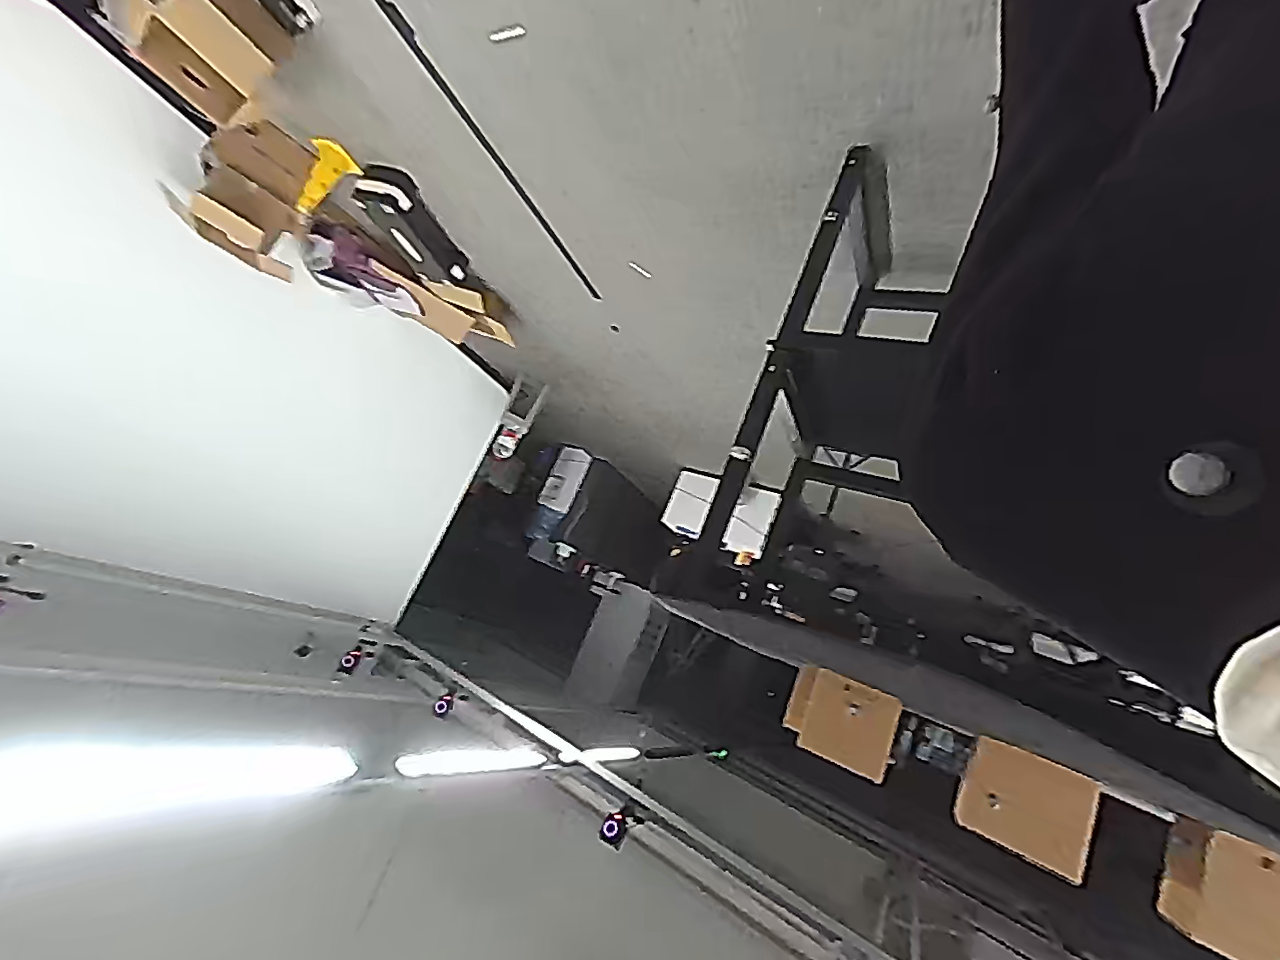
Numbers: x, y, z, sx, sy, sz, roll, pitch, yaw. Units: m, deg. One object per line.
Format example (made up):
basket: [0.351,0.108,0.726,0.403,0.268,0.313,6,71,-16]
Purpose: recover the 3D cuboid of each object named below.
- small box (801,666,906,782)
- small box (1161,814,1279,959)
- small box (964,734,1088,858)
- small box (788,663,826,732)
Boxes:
small box: [0.464,0.517,1.168,0.168,0.176,0.179,16,167,28]
small box: [0.959,0.650,0.837,0.168,0.176,0.179,15,166,34]
small box: [0.831,0.672,1.176,0.179,0.176,0.168,15,165,30]
small box: [0.500,0.582,1.383,0.168,0.176,0.179,16,165,34]
